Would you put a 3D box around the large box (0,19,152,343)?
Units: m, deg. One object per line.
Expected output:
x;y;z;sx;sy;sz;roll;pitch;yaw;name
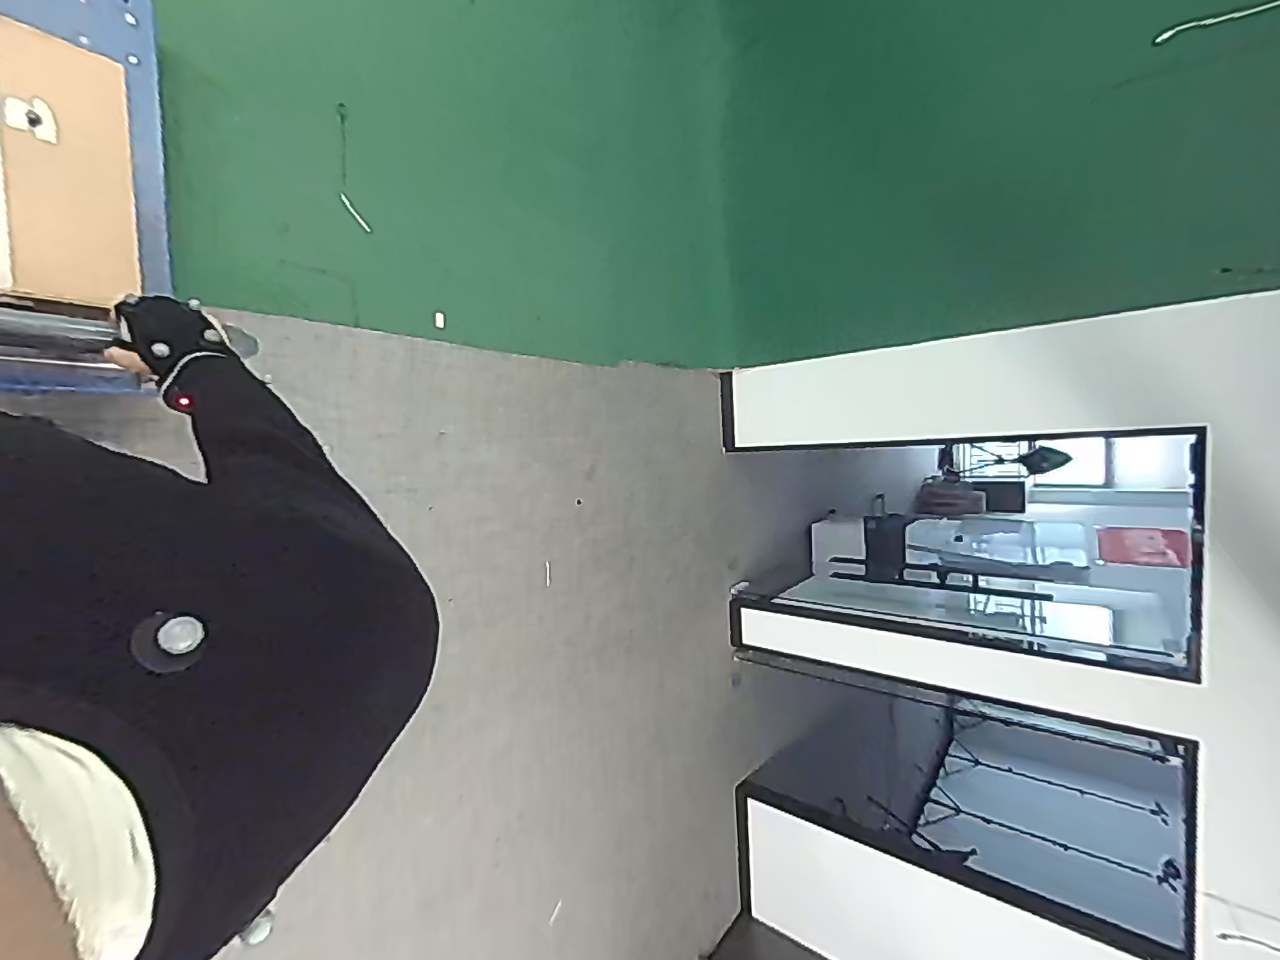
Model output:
-1.032;-0.459;0.865;0.320;0.320;0.408;-5;93;-51;large box
